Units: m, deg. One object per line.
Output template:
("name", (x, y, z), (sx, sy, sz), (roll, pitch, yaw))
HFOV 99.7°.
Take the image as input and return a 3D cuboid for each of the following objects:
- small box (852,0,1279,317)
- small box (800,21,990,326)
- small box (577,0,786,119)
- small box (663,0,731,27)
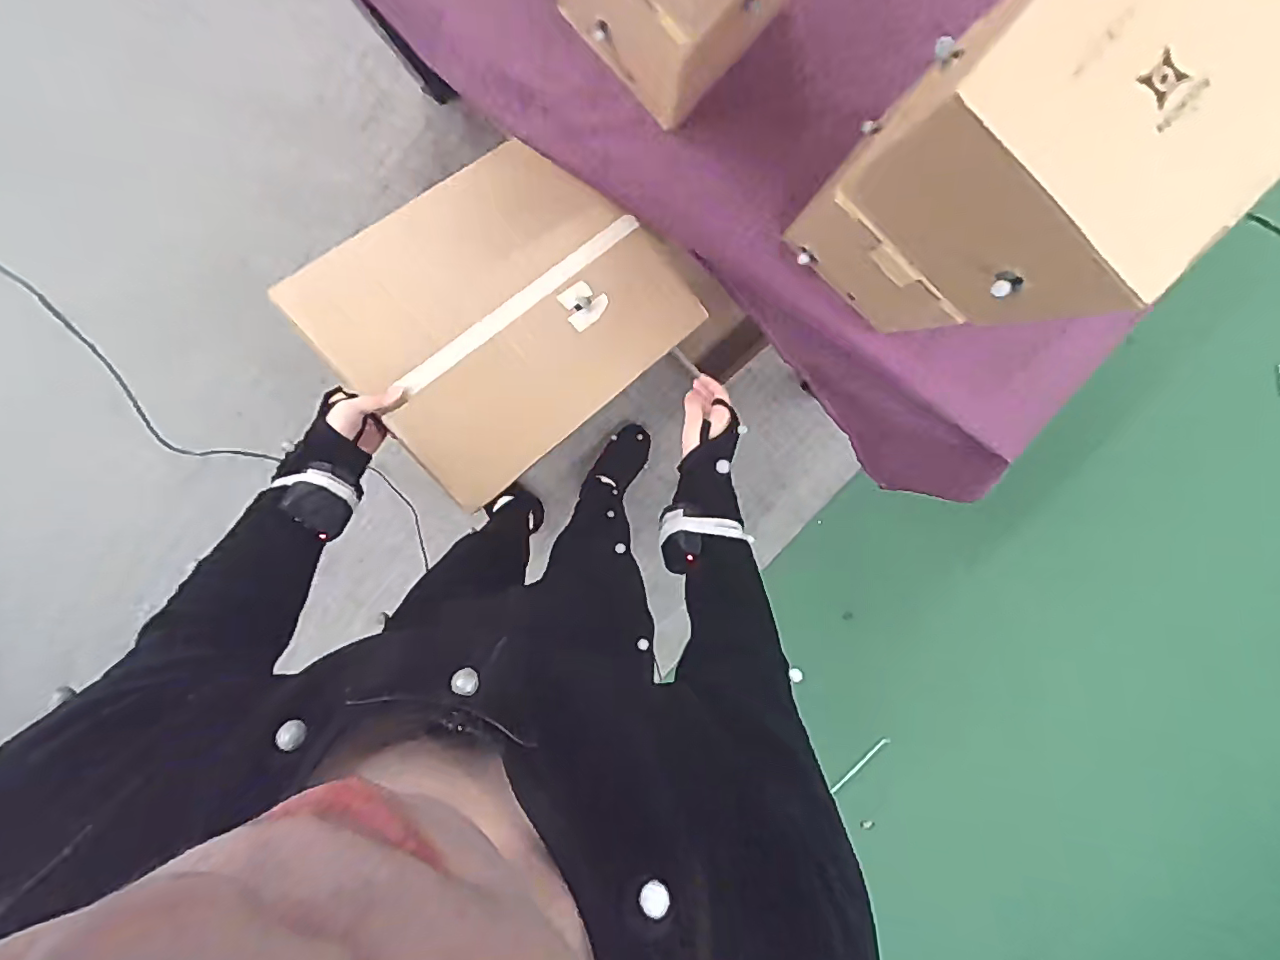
("small box", (0.291, -0.233, 0.378), (0.179, 0.176, 0.168), (41, 99, -9))
("small box", (0.283, -0.272, 0.537), (0.168, 0.176, 0.179), (40, 99, -9))
("small box", (0.044, -0.481, 0.484), (0.179, 0.176, 0.168), (-44, 100, 10))
("small box", (0.053, -0.446, 0.323), (0.179, 0.176, 0.168), (-43, 100, 9))
